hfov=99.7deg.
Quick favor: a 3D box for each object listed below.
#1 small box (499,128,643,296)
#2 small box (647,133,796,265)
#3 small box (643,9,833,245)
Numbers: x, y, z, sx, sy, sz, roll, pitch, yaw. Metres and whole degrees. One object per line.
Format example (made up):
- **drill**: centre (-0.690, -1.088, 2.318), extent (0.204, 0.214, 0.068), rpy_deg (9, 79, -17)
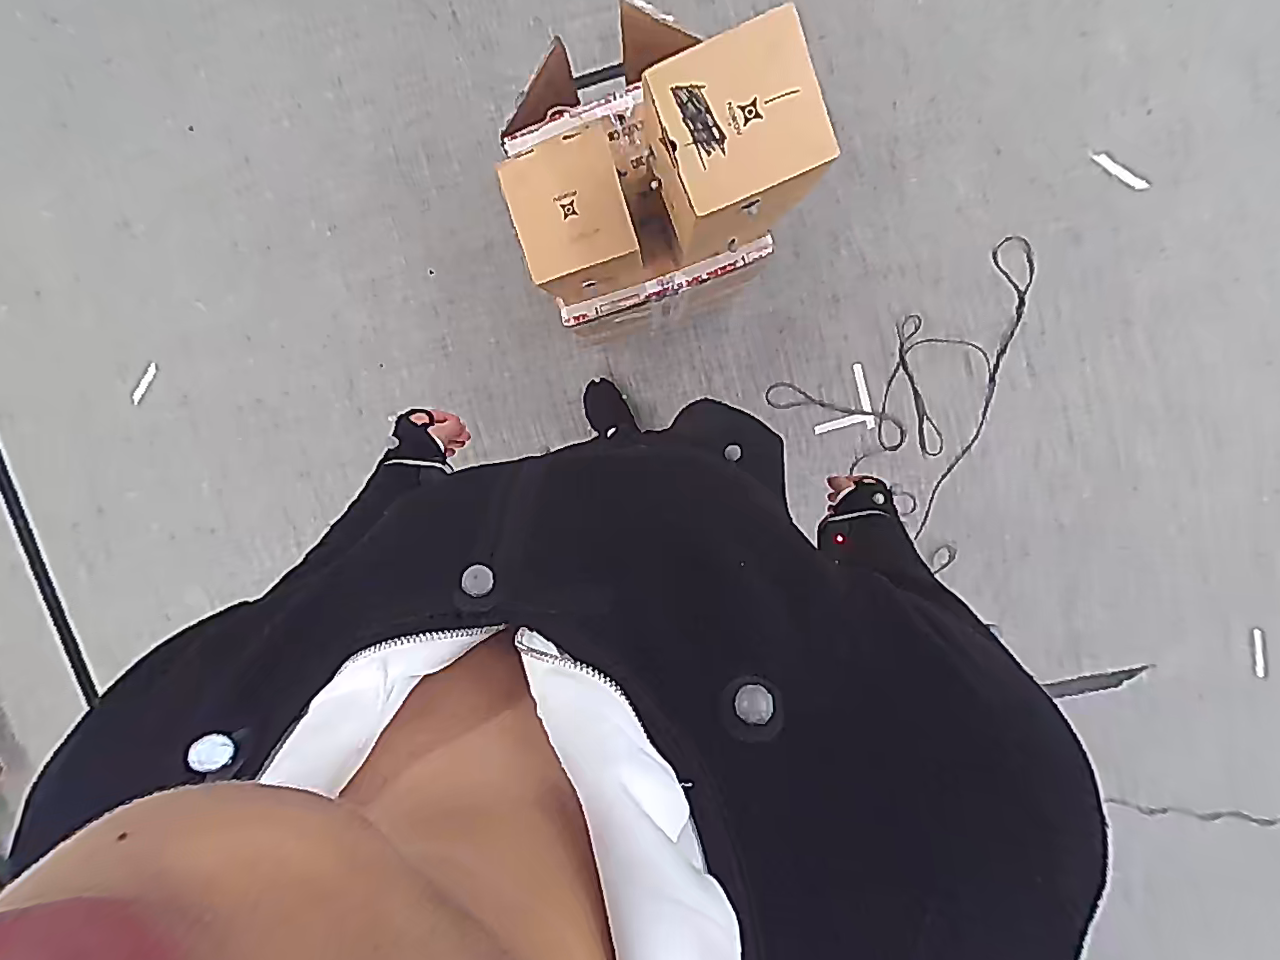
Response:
- **small box**: centre (-0.099, -0.411, 0.863), extent (0.168, 0.176, 0.179), rpy_deg (-17, 101, 7)
- **small box**: centre (0.117, -0.461, 0.846), extent (0.179, 0.176, 0.168), rpy_deg (-22, 100, 5)
- **small box**: centre (0.114, -0.423, 0.685), extent (0.179, 0.176, 0.168), rpy_deg (-22, 101, 5)
